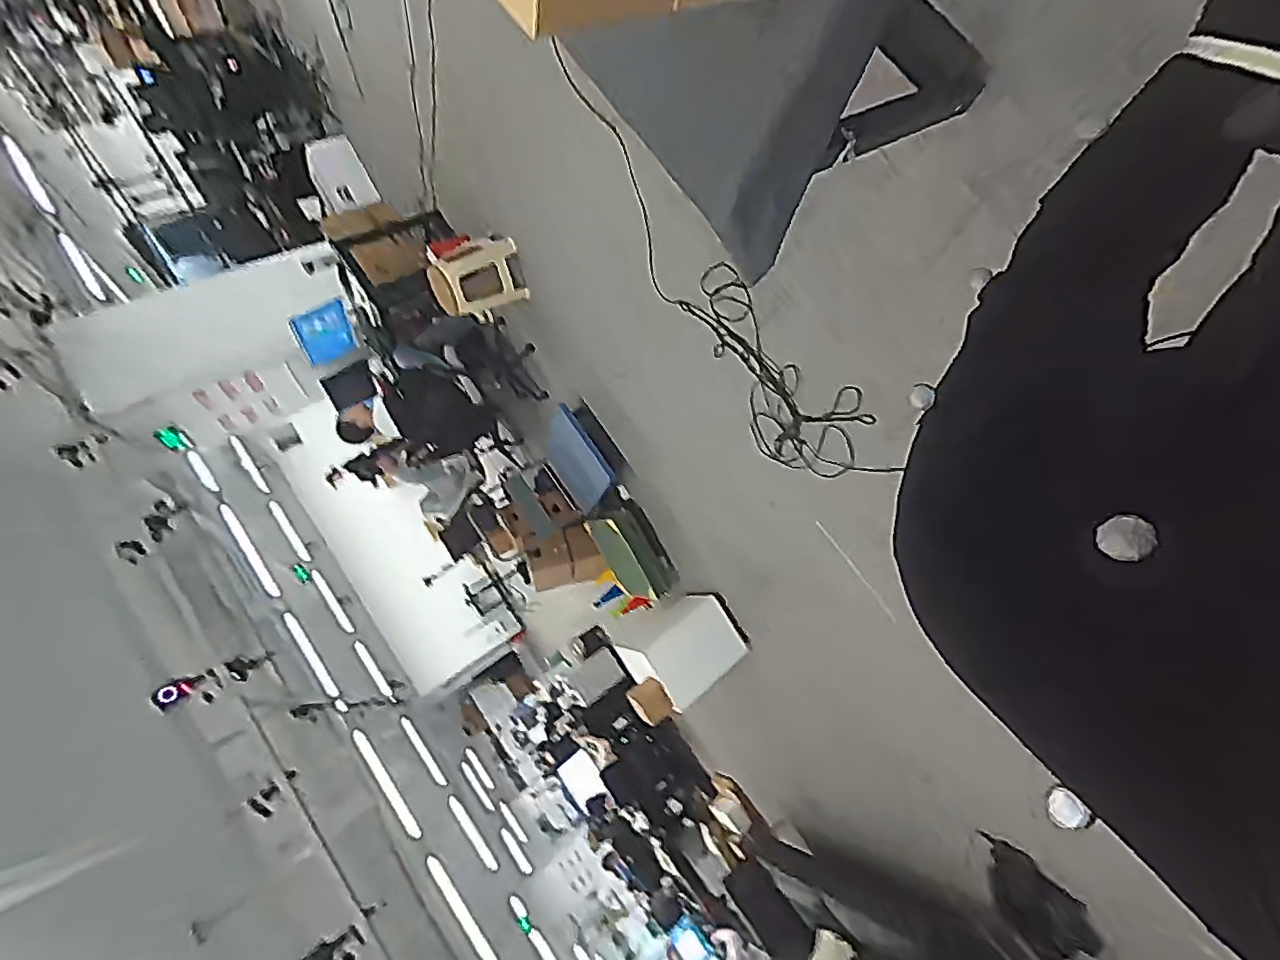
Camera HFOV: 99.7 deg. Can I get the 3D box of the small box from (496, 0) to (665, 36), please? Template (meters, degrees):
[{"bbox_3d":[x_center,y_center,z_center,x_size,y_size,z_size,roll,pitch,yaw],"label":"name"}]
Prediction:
[{"bbox_3d":[-0.062,-0.522,0.447,0.179,0.176,0.168,52,157,10],"label":"small box"}]

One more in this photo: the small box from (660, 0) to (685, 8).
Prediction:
[{"bbox_3d":[0.063,-0.603,0.513,0.179,0.176,0.168,52,156,10],"label":"small box"}]
